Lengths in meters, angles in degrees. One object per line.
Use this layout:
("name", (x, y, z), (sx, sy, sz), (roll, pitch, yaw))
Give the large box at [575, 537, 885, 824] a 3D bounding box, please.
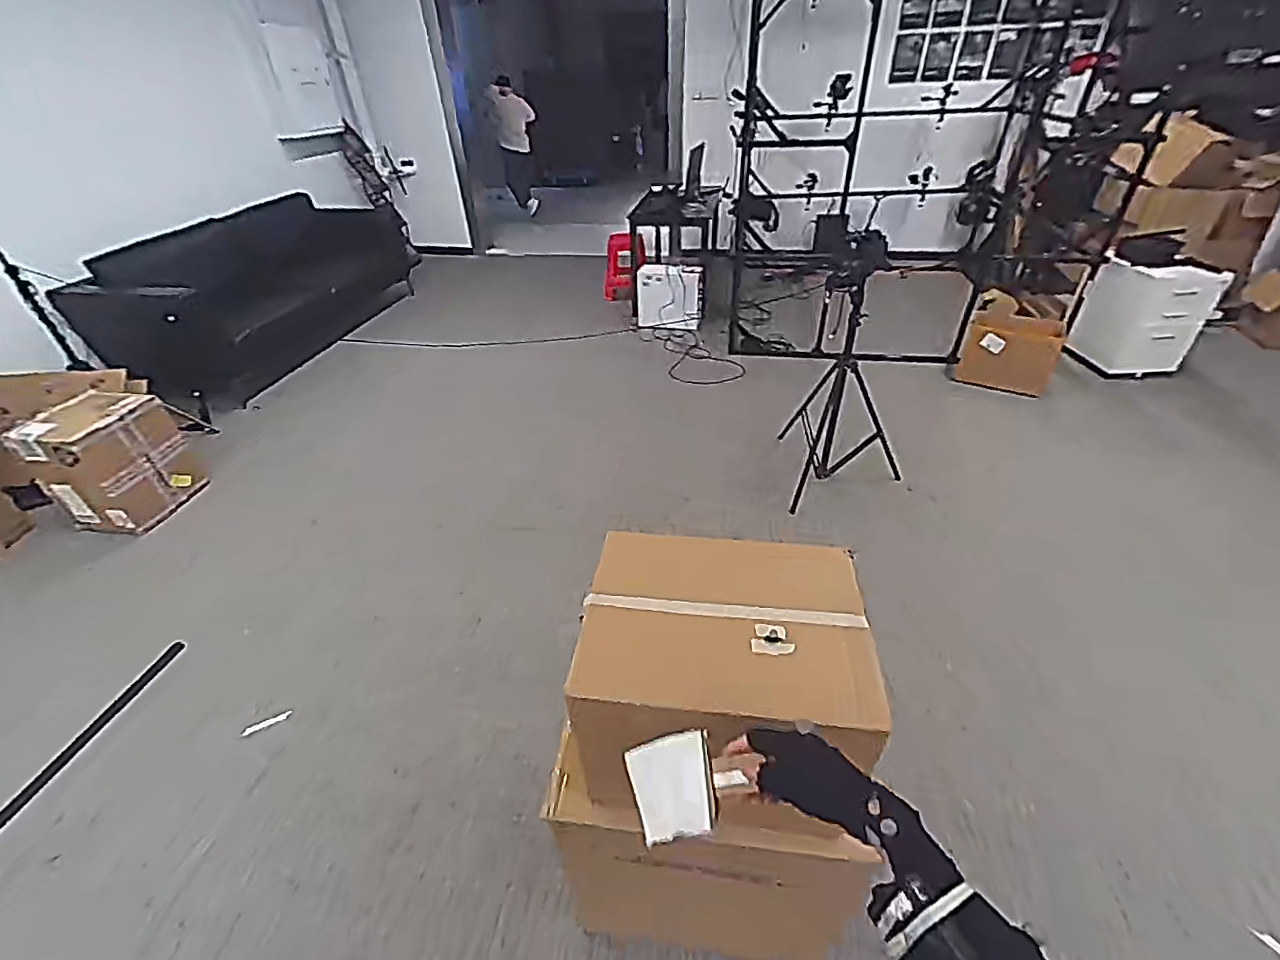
("large box", (0.128, 0.320, 0.894), (0.408, 0.320, 0.320), (4, 38, 7))
